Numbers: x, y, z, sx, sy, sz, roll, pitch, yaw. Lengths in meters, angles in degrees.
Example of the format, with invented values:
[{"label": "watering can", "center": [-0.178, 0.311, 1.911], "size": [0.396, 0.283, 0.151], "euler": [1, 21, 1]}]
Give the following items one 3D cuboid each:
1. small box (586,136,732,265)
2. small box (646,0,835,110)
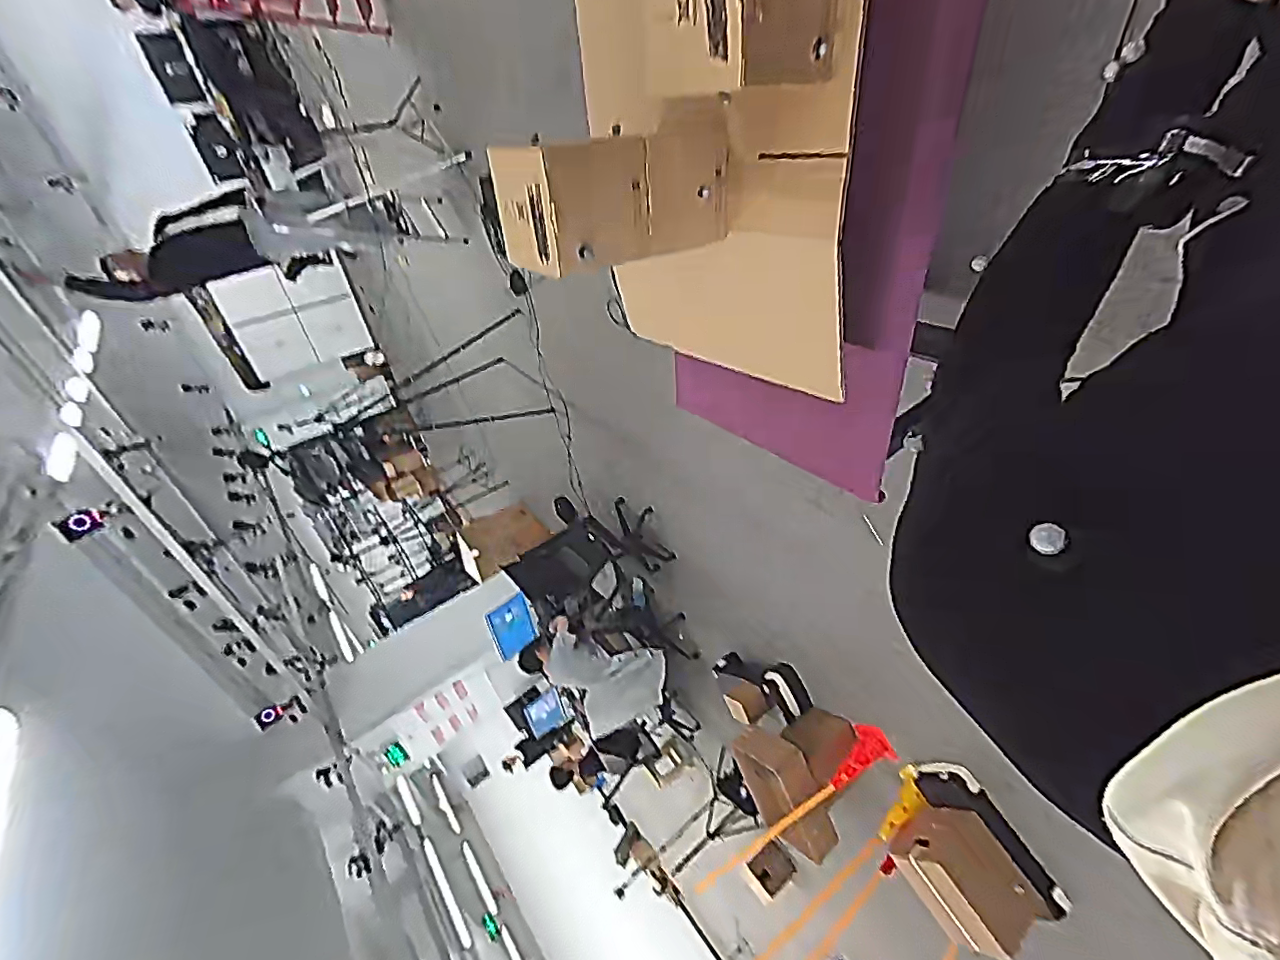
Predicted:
[{"label": "small box", "center": [0.033, -0.476, 0.913], "size": [0.179, 0.176, 0.168], "euler": [32, 139, 42]}, {"label": "small box", "center": [0.128, -0.575, 0.676], "size": [0.179, 0.176, 0.168], "euler": [33, 140, 44]}]
